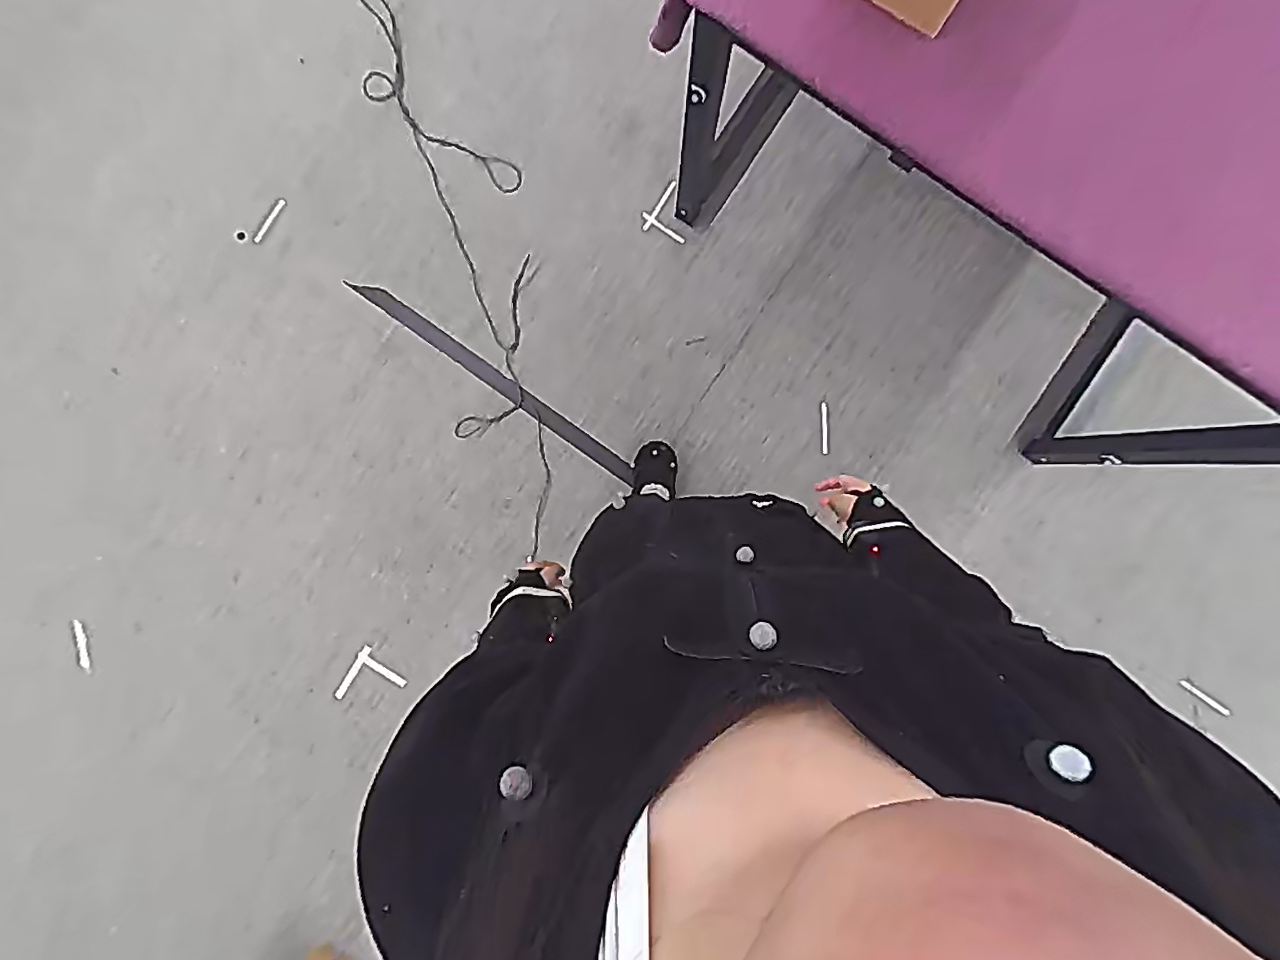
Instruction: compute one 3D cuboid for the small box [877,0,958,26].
[{"bbox_3d":[0.365,-0.707,0.646,0.179,0.176,0.168,32,91,0],"label":"small box"}]
